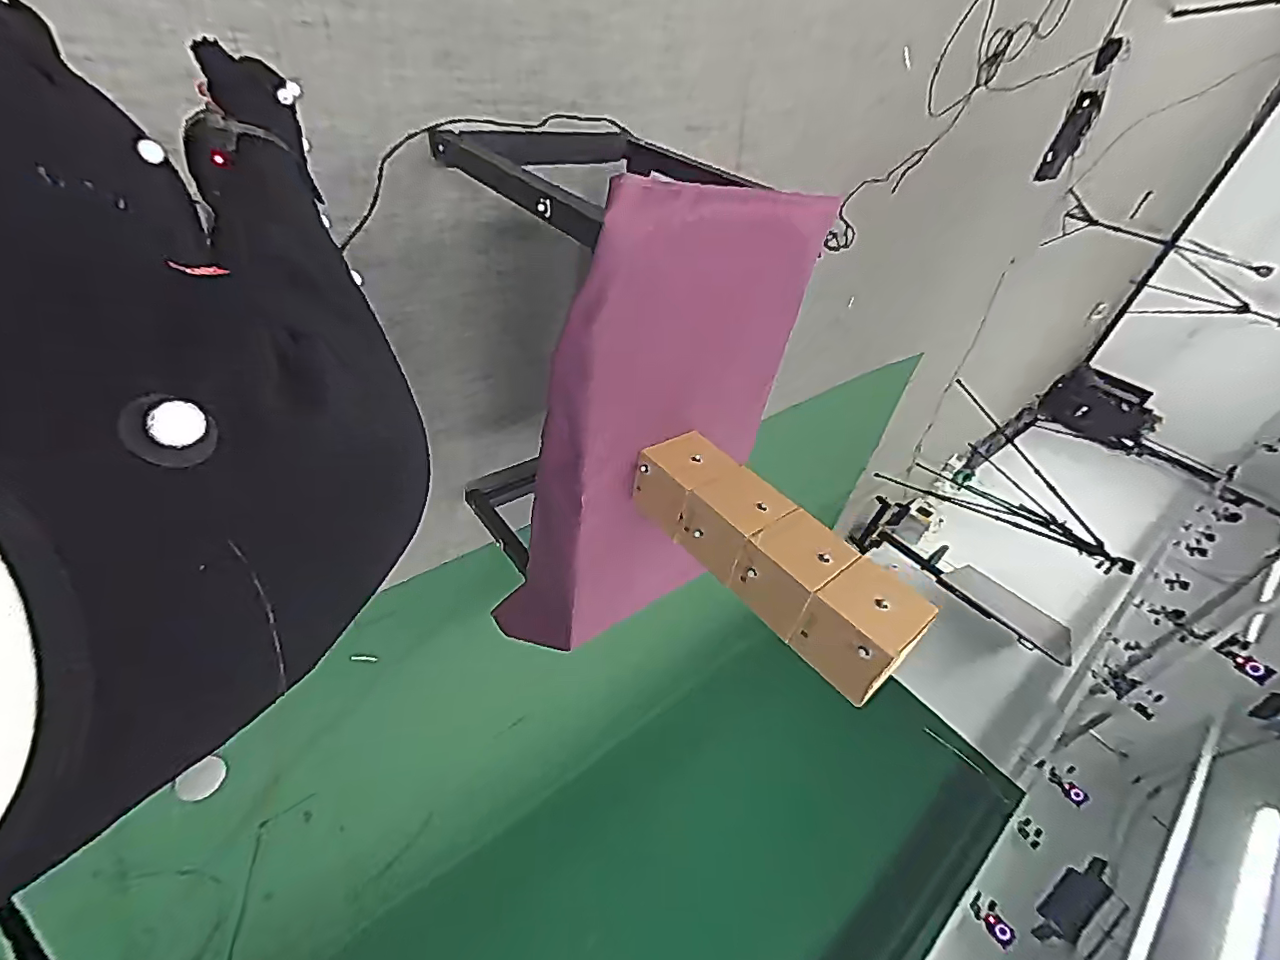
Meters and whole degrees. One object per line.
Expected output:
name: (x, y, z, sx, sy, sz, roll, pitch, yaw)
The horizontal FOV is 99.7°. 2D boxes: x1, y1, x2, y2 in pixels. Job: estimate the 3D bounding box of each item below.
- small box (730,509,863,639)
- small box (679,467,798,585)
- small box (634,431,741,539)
small box: (0.320, 0.186, 1.125, 0.179, 0.176, 0.168, -23, 139, -33)
small box: (0.215, 0.095, 1.211, 0.179, 0.176, 0.168, -22, 139, -33)
small box: (0.106, 0.006, 1.297, 0.179, 0.176, 0.168, -23, 140, -34)
